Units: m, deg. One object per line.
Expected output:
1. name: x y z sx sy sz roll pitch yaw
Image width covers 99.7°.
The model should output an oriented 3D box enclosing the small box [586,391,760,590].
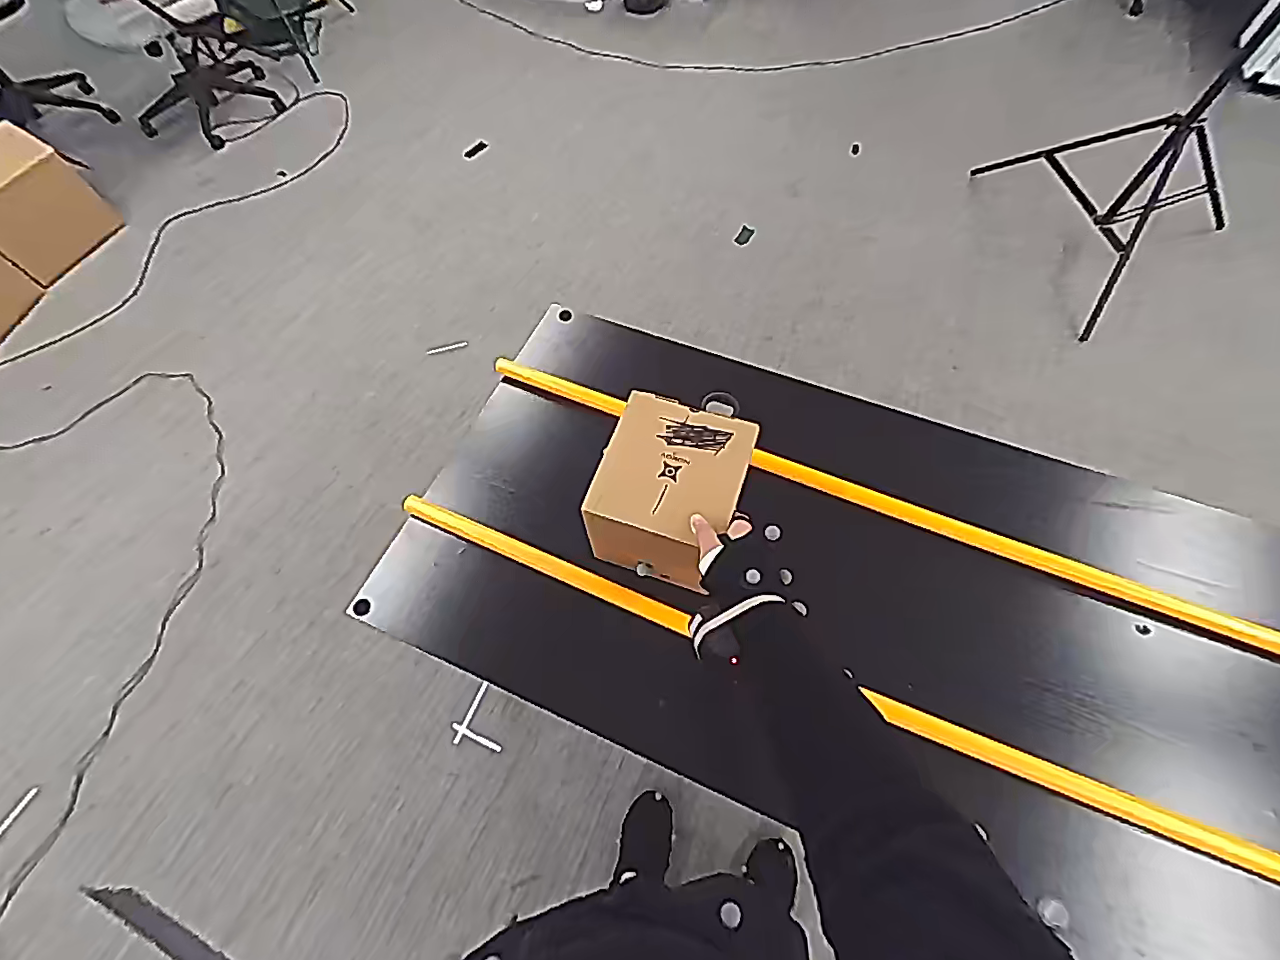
1. small box: 0.044 0.019 0.704 0.168 0.176 0.179 17 65 11
